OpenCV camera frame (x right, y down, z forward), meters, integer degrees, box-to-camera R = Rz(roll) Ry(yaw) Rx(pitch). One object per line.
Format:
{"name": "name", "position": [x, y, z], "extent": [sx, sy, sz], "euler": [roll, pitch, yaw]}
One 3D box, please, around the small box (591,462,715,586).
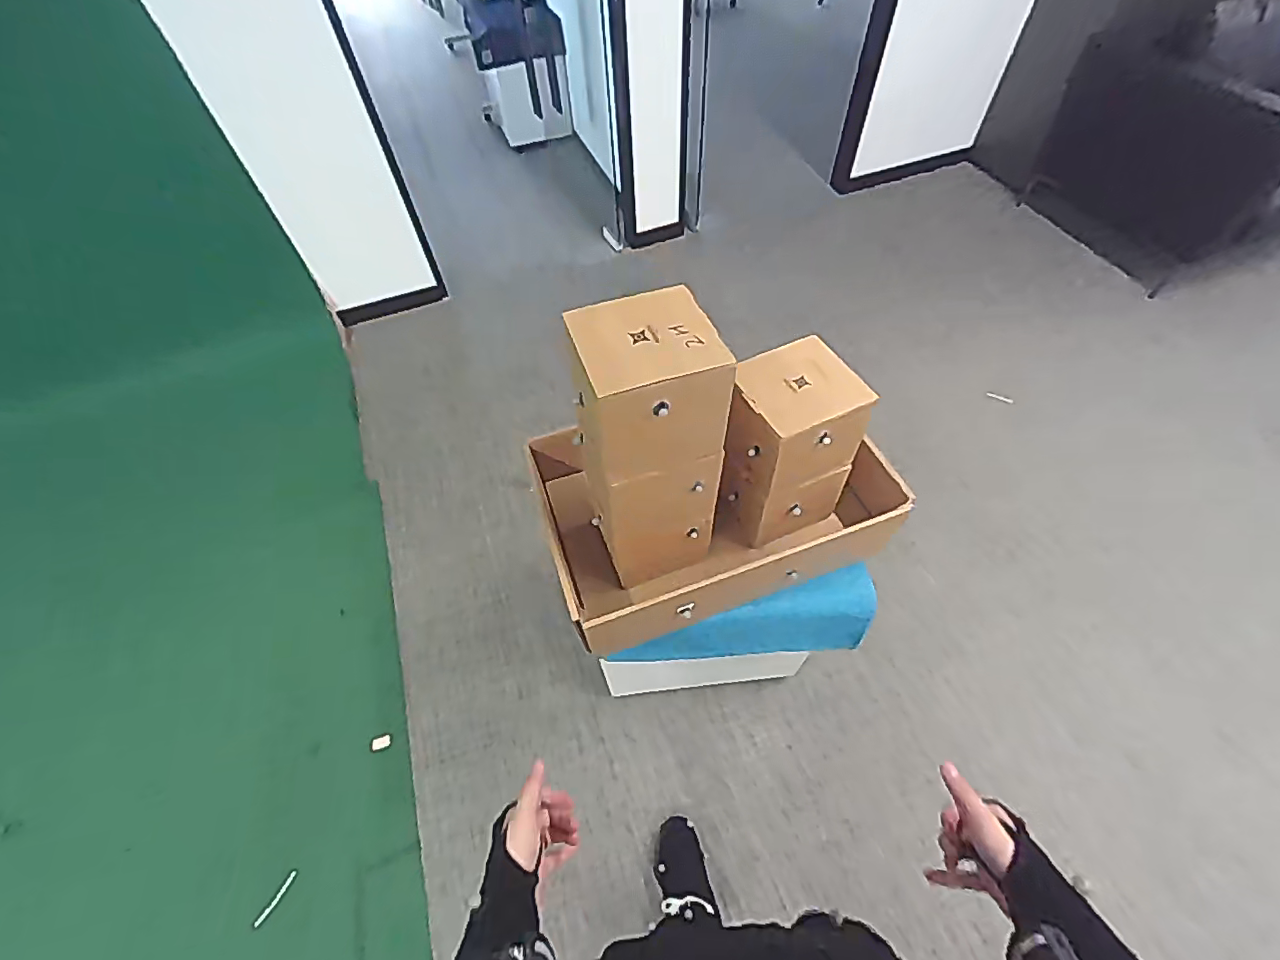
{"name": "small box", "position": [0.025, 0.071, 0.995], "extent": [0.179, 0.176, 0.168], "euler": [-18, 55, -10]}

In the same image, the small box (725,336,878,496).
{"name": "small box", "position": [0.252, -0.101, 0.894], "extent": [0.179, 0.176, 0.168], "euler": [-22, 56, -10]}

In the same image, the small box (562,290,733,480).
{"name": "small box", "position": [0.009, -0.123, 0.730], "extent": [0.179, 0.176, 0.168], "euler": [-16, 55, -10]}
